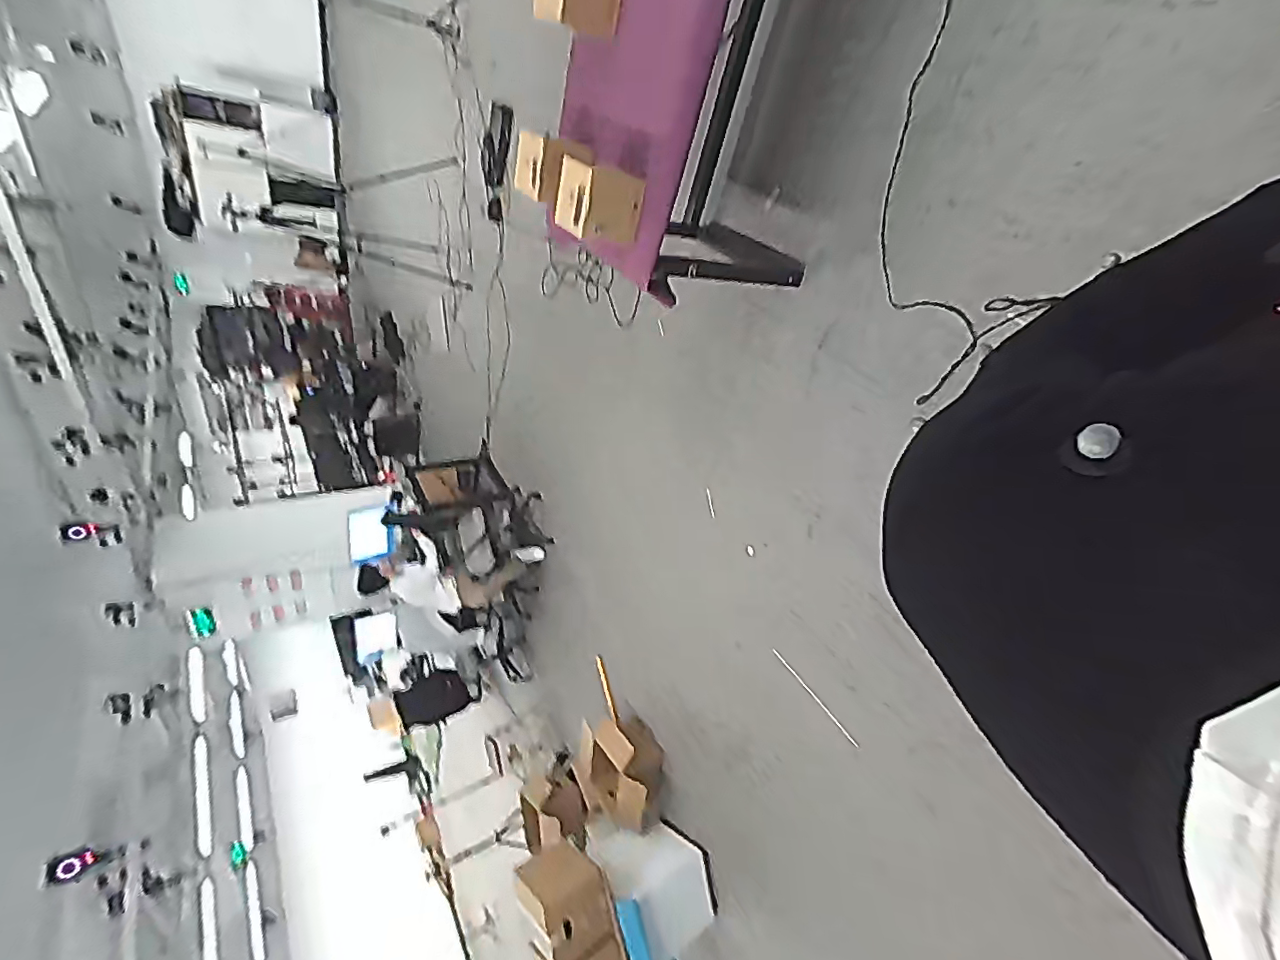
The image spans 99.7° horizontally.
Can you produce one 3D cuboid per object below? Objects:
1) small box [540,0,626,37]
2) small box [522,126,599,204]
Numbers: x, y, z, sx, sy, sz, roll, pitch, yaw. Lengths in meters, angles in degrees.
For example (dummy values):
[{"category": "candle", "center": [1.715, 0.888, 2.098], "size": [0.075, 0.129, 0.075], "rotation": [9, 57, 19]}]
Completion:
[{"category": "small box", "center": [-0.143, -1.303, 1.431], "size": [0.179, 0.176, 0.168], "rotation": [49, 135, 38]}, {"category": "small box", "center": [-0.244, -0.965, 1.665], "size": [0.179, 0.176, 0.168], "rotation": [48, 134, 39]}]
